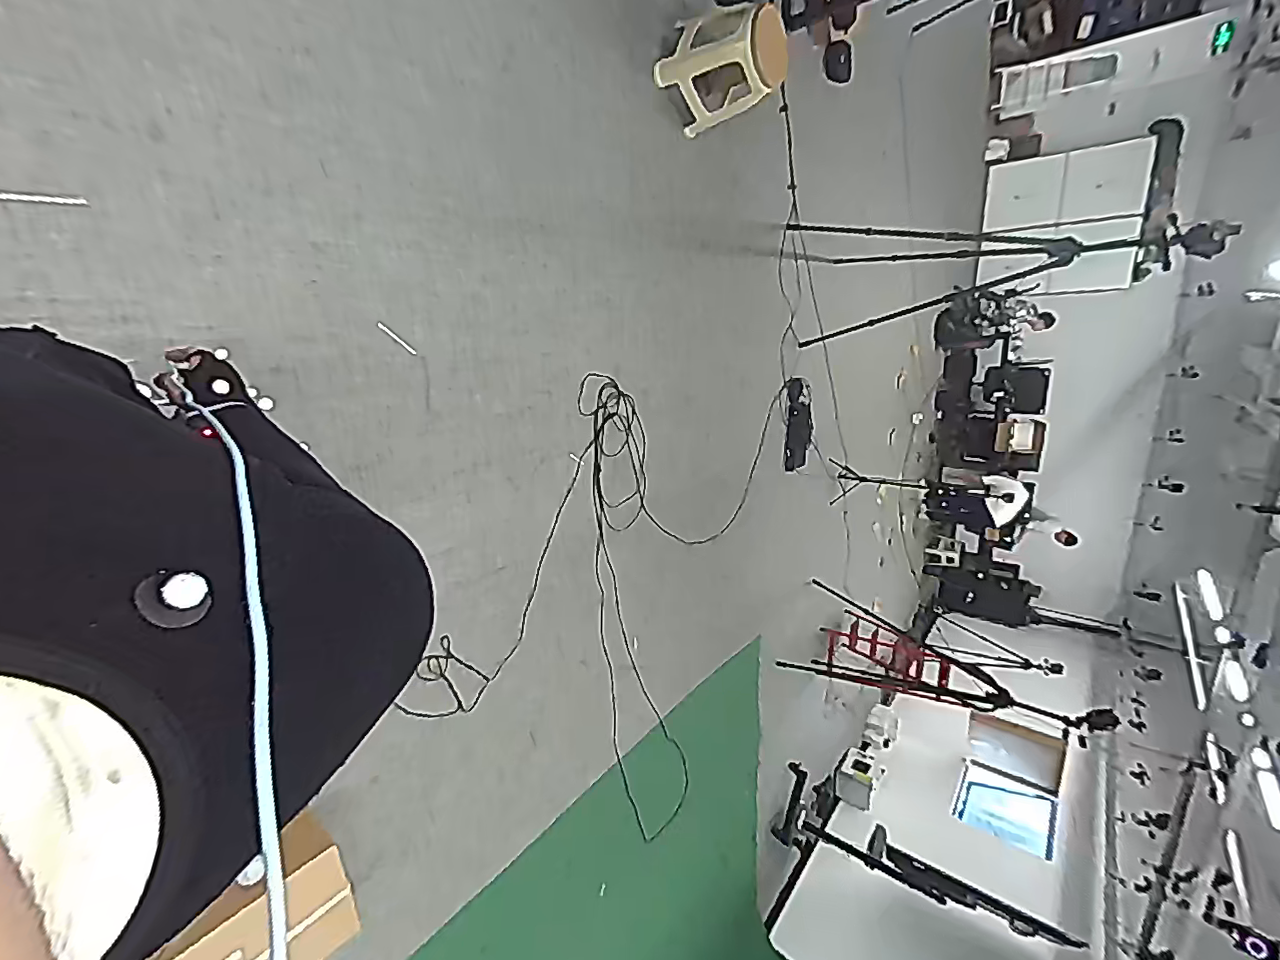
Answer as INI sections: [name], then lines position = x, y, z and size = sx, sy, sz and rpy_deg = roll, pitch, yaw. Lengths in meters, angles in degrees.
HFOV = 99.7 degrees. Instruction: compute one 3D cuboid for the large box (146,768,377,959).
[large box]
position = -1.000, 1.088, 1.453
size = 0.408, 0.320, 0.320
rpy_deg = -23, 115, -45
